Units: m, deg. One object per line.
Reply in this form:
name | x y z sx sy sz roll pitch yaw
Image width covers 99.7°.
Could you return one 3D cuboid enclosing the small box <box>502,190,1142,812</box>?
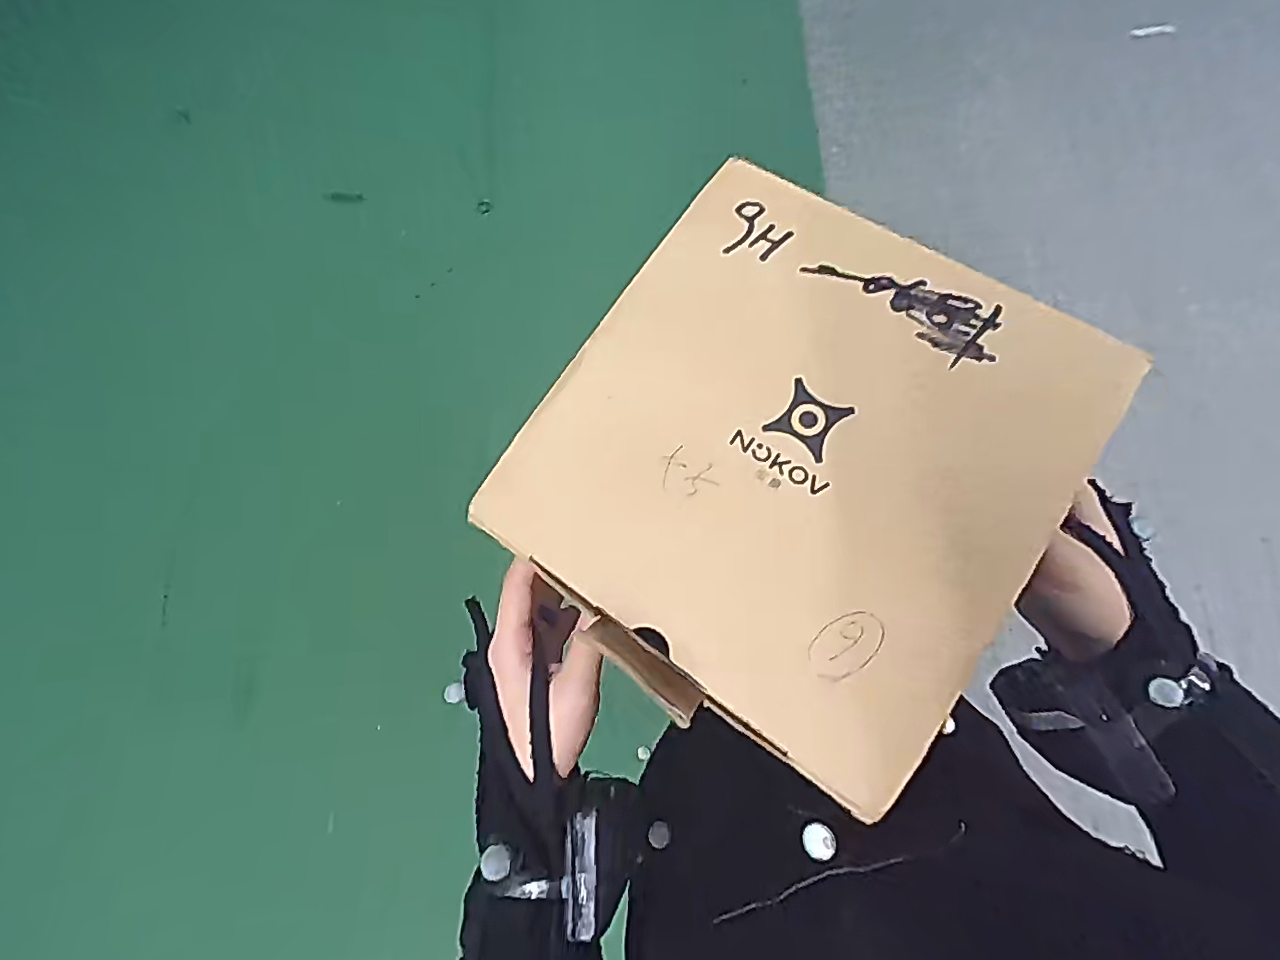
small box | 0.070 0.010 0.273 0.168 0.176 0.179 35 84 13
